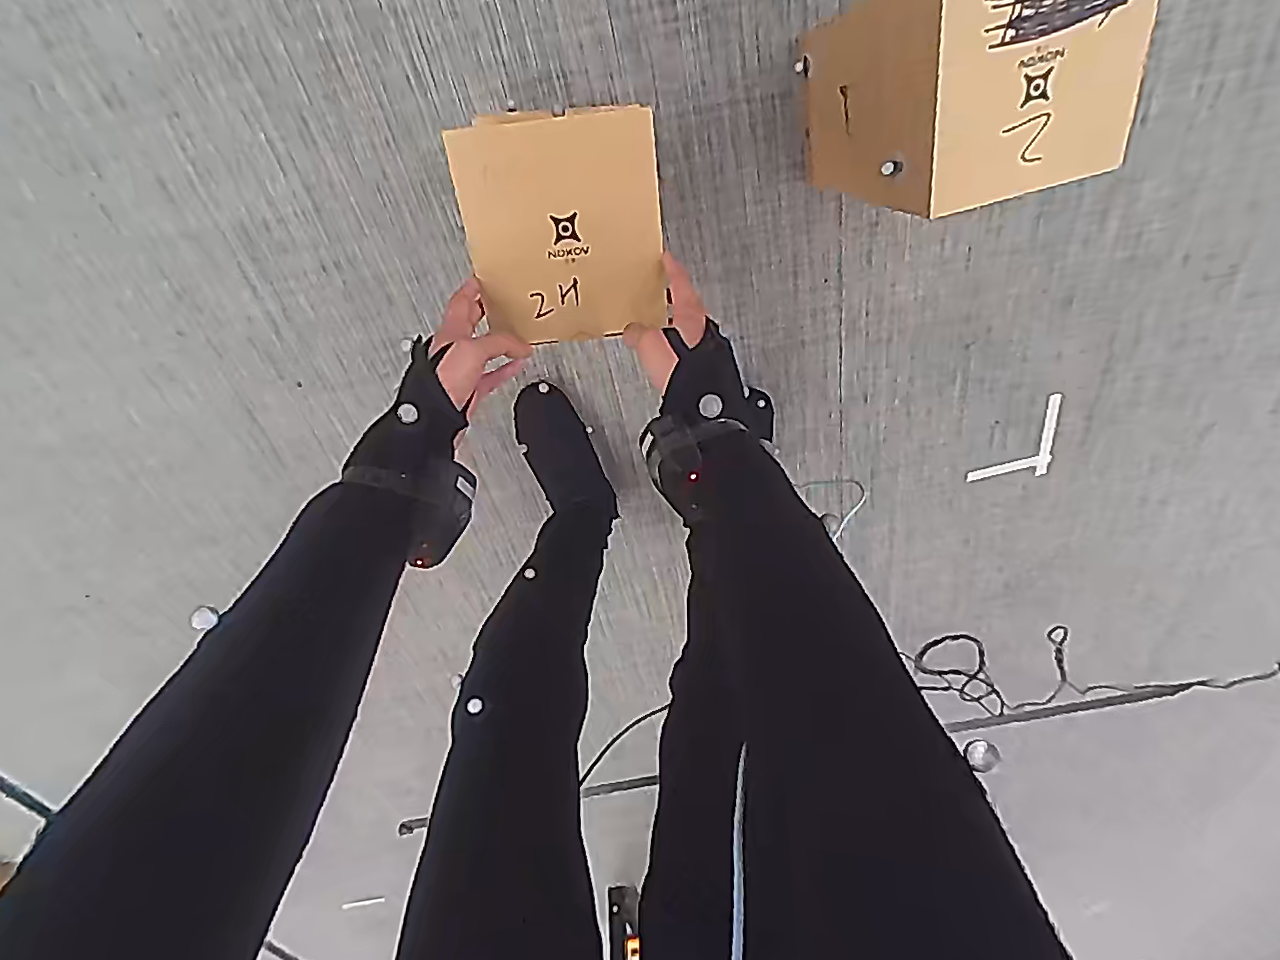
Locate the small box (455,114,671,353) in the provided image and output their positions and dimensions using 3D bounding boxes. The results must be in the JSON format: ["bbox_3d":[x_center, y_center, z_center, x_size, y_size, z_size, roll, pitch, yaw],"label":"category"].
[{"bbox_3d":[-0.064,-0.240,0.530,0.168,0.176,0.179,-6,121,-1],"label":"small box"}]

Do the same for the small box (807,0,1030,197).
[{"bbox_3d":[0.303,-0.445,0.630,0.179,0.176,0.168,-13,123,2],"label":"small box"}]
